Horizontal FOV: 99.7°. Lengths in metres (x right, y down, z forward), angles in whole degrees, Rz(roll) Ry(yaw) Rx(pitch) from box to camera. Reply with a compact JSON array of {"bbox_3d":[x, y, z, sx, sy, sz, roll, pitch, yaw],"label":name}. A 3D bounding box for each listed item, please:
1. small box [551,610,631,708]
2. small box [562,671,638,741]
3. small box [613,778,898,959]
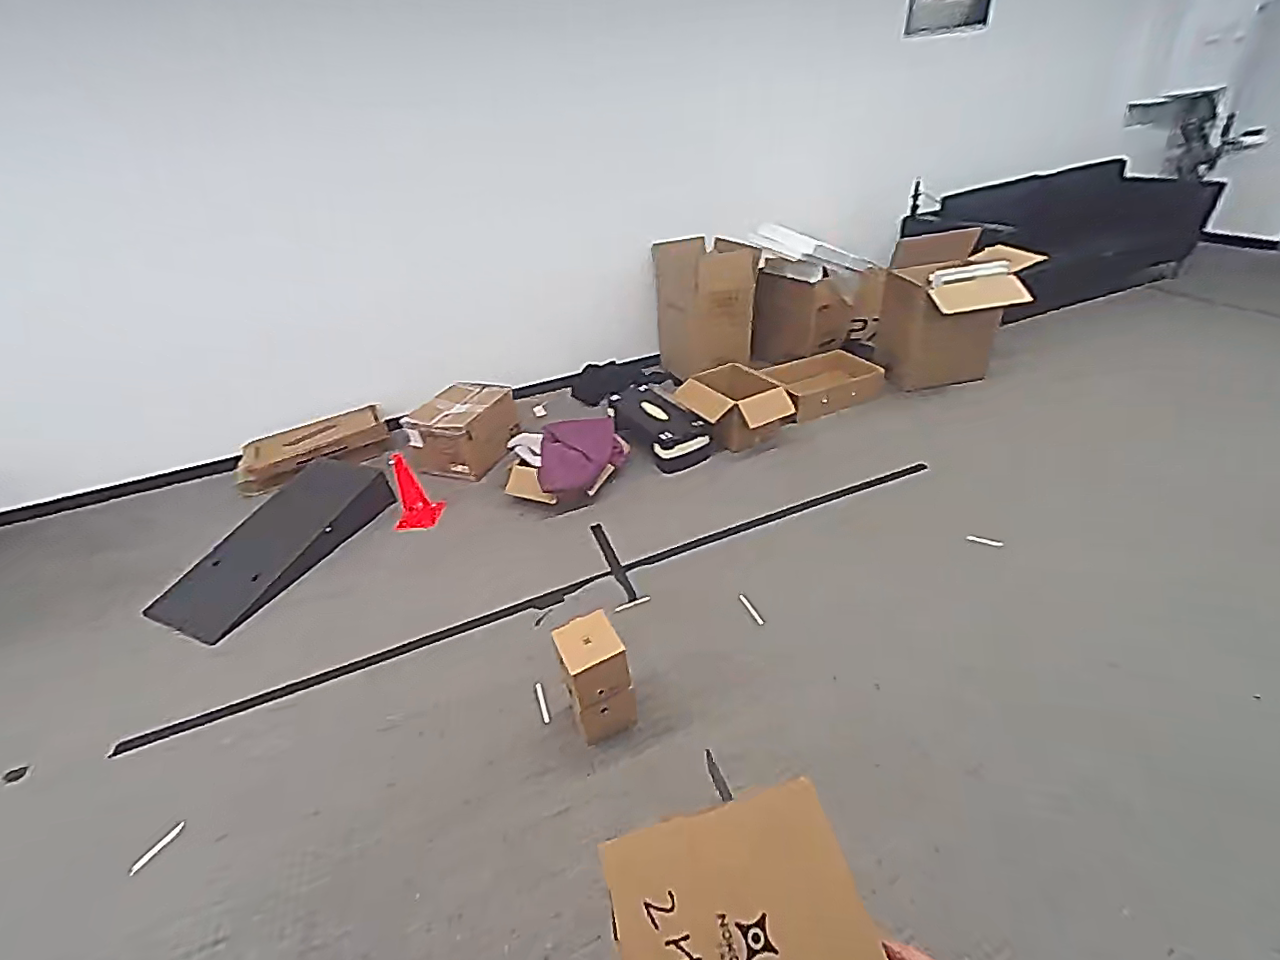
[{"bbox_3d":[-0.142,0.521,1.576,0.168,0.176,0.179,-22,38,-19],"label":"small box"},{"bbox_3d":[-0.122,0.660,1.659,0.179,0.176,0.168,-18,36,-18],"label":"small box"},{"bbox_3d":[0.090,0.368,0.428,0.179,0.176,0.168,-16,45,-2],"label":"small box"}]
